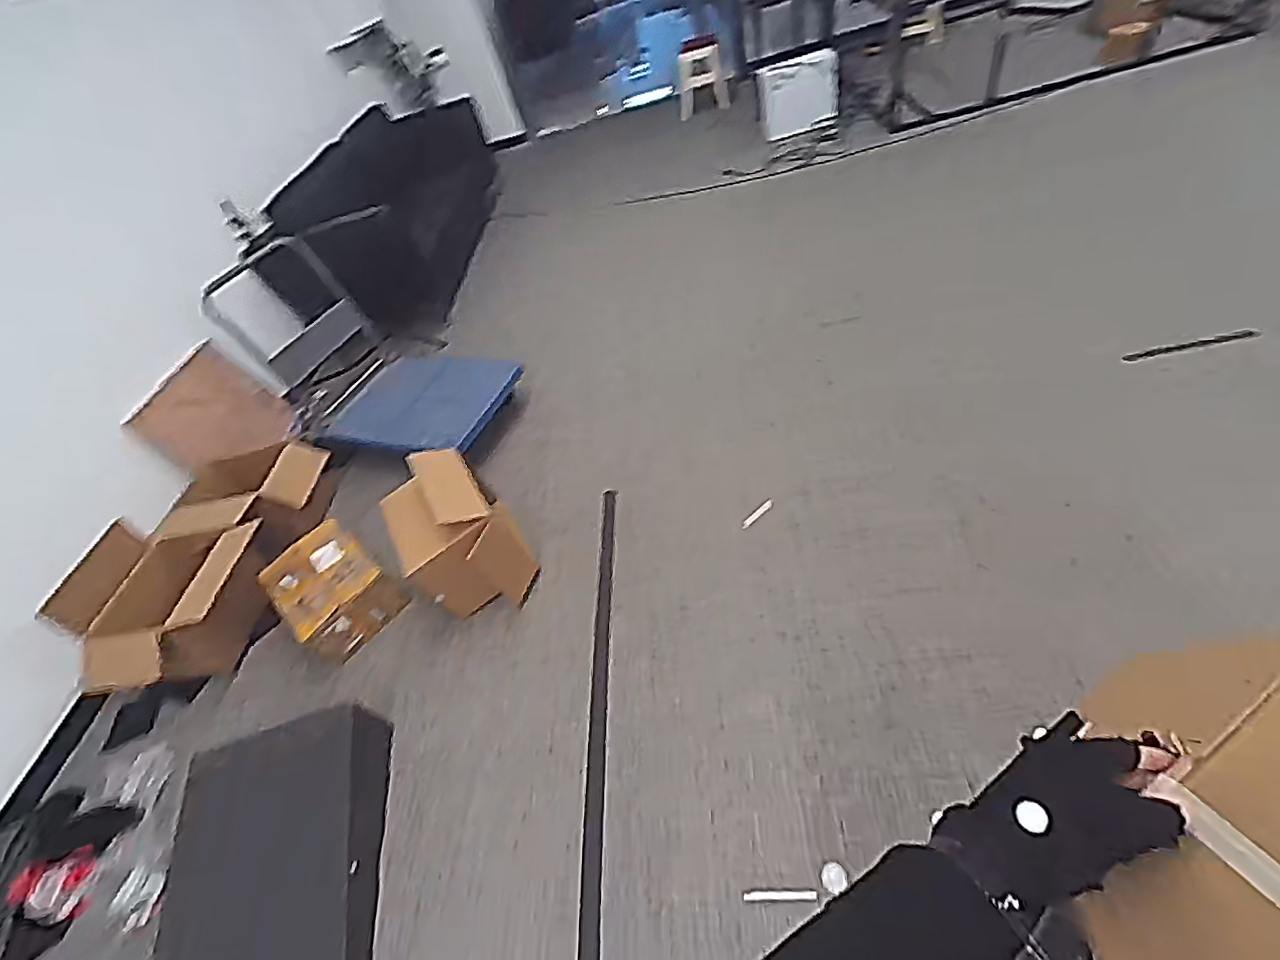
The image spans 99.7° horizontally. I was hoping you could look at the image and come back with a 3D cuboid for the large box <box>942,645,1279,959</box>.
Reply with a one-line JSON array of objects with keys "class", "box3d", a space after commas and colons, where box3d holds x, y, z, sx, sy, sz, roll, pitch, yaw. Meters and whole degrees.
[{"class": "large box", "box3d": [0.534, 0.390, 0.419, 0.320, 0.320, 0.408, -45, 61, 1]}]
